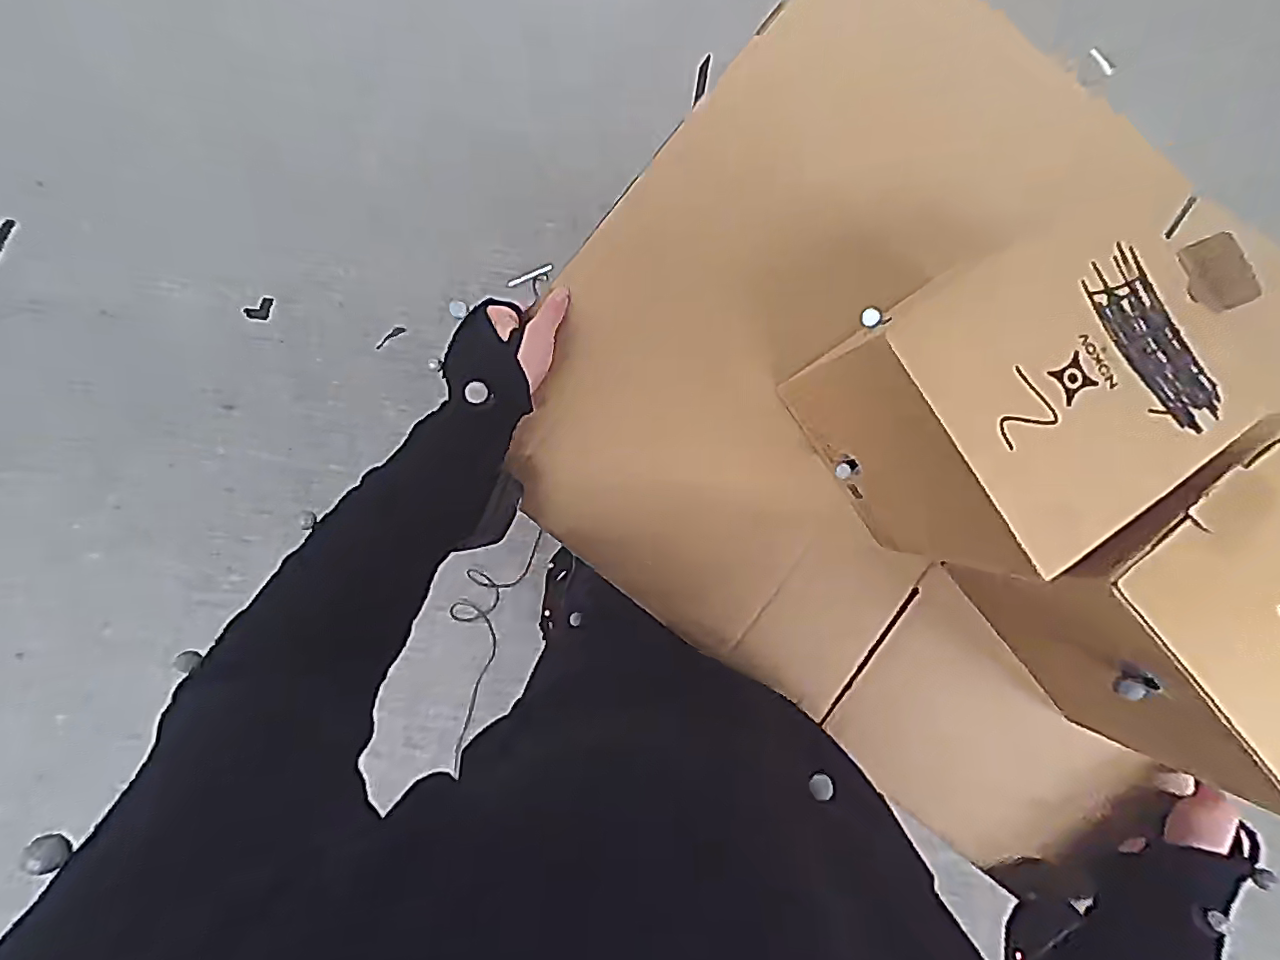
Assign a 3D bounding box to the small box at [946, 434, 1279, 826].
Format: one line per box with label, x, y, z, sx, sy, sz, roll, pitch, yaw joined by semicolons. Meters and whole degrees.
small box;0.379;0.089;0.394;0.168;0.176;0.179;-38;87;-4
